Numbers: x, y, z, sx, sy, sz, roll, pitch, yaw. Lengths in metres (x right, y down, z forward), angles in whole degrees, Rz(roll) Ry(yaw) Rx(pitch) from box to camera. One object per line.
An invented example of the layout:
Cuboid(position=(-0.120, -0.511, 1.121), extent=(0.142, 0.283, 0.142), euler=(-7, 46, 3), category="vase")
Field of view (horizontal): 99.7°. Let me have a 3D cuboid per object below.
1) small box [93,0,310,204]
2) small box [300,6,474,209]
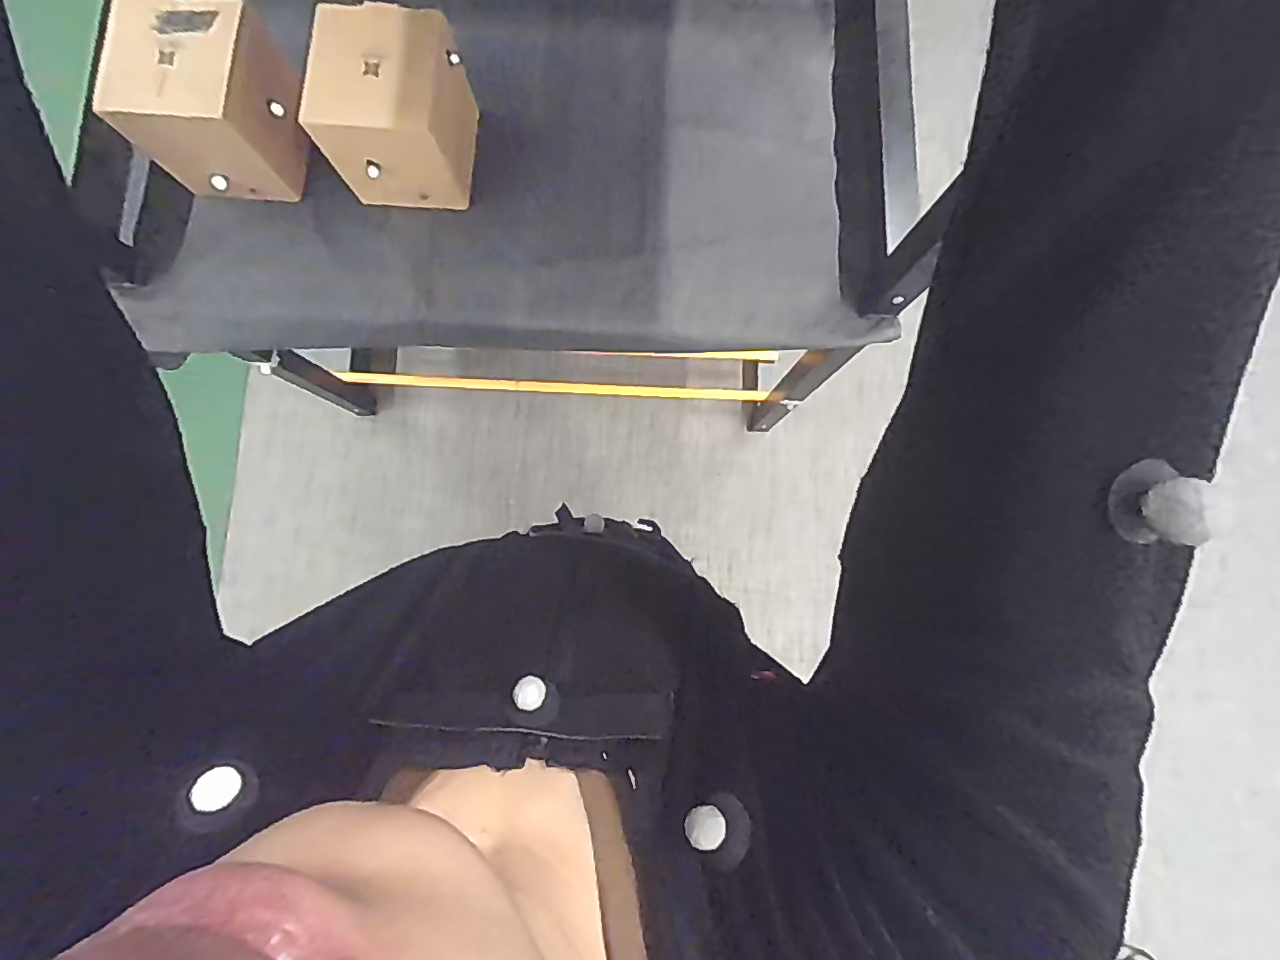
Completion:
Cuboid(position=(-0.598, -0.529, 0.766), extent=(0.168, 0.176, 0.179), euler=(3, 83, -1), category="small box")
Cuboid(position=(-0.345, -0.517, 0.772), extent=(0.168, 0.176, 0.179), euler=(3, 82, -1), category="small box")
